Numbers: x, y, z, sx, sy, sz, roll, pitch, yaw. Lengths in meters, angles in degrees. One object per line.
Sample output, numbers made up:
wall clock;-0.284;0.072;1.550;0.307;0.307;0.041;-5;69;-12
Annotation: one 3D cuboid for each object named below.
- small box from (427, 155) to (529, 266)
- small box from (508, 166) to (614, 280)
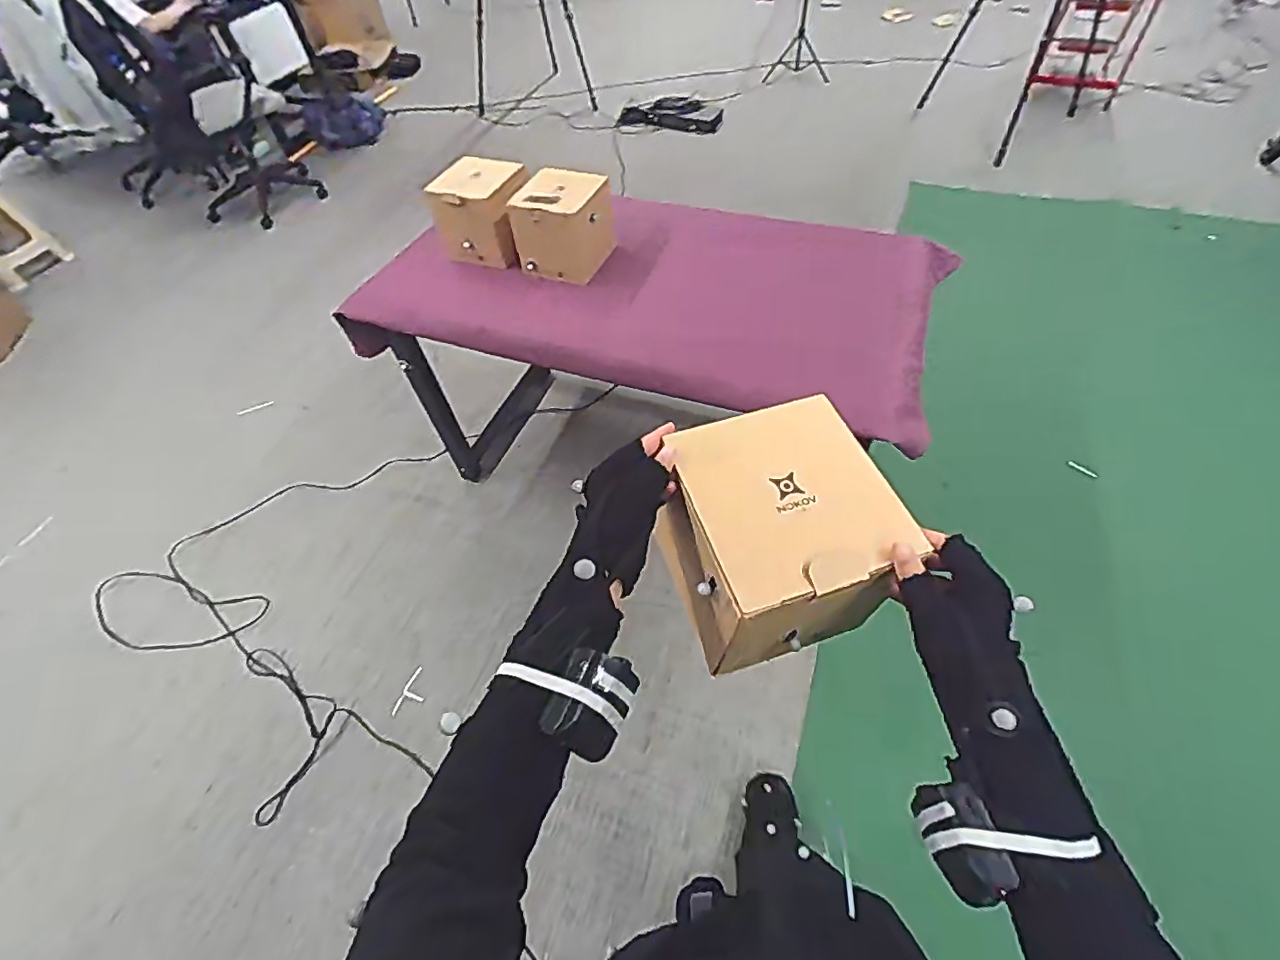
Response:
small box;-0.365;-0.643;1.292;0.168;0.176;0.179;16;57;16
small box;-0.169;-0.583;1.233;0.168;0.176;0.179;17;57;16
